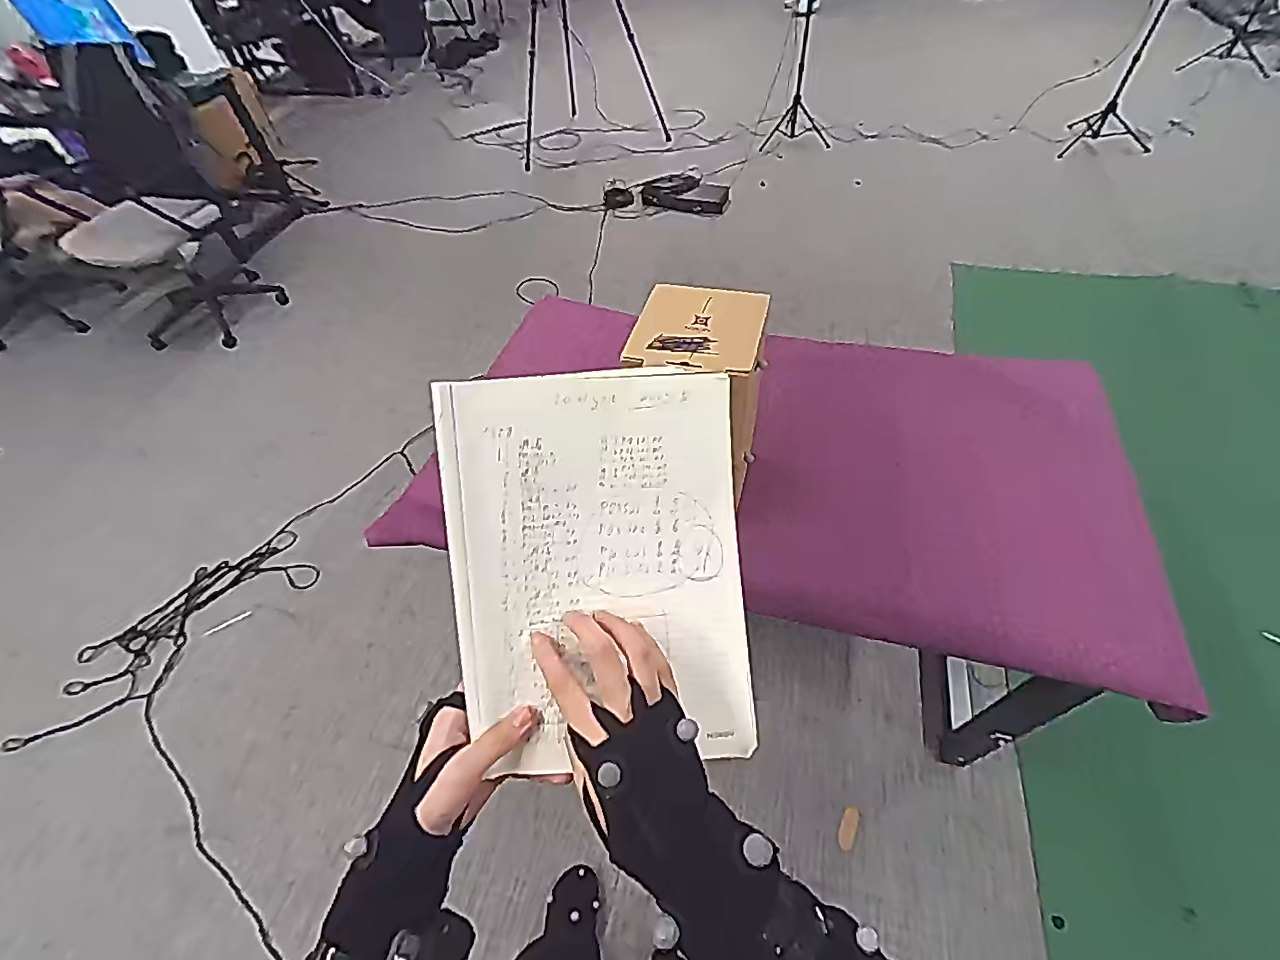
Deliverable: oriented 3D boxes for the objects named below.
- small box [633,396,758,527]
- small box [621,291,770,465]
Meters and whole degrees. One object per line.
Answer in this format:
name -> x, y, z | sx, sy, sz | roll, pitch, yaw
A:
small box -> 0.096, -0.045, 0.908 | 0.168, 0.176, 0.179 | 11, 54, 13
small box -> 0.084, -0.144, 0.776 | 0.168, 0.176, 0.179 | 11, 52, 13
